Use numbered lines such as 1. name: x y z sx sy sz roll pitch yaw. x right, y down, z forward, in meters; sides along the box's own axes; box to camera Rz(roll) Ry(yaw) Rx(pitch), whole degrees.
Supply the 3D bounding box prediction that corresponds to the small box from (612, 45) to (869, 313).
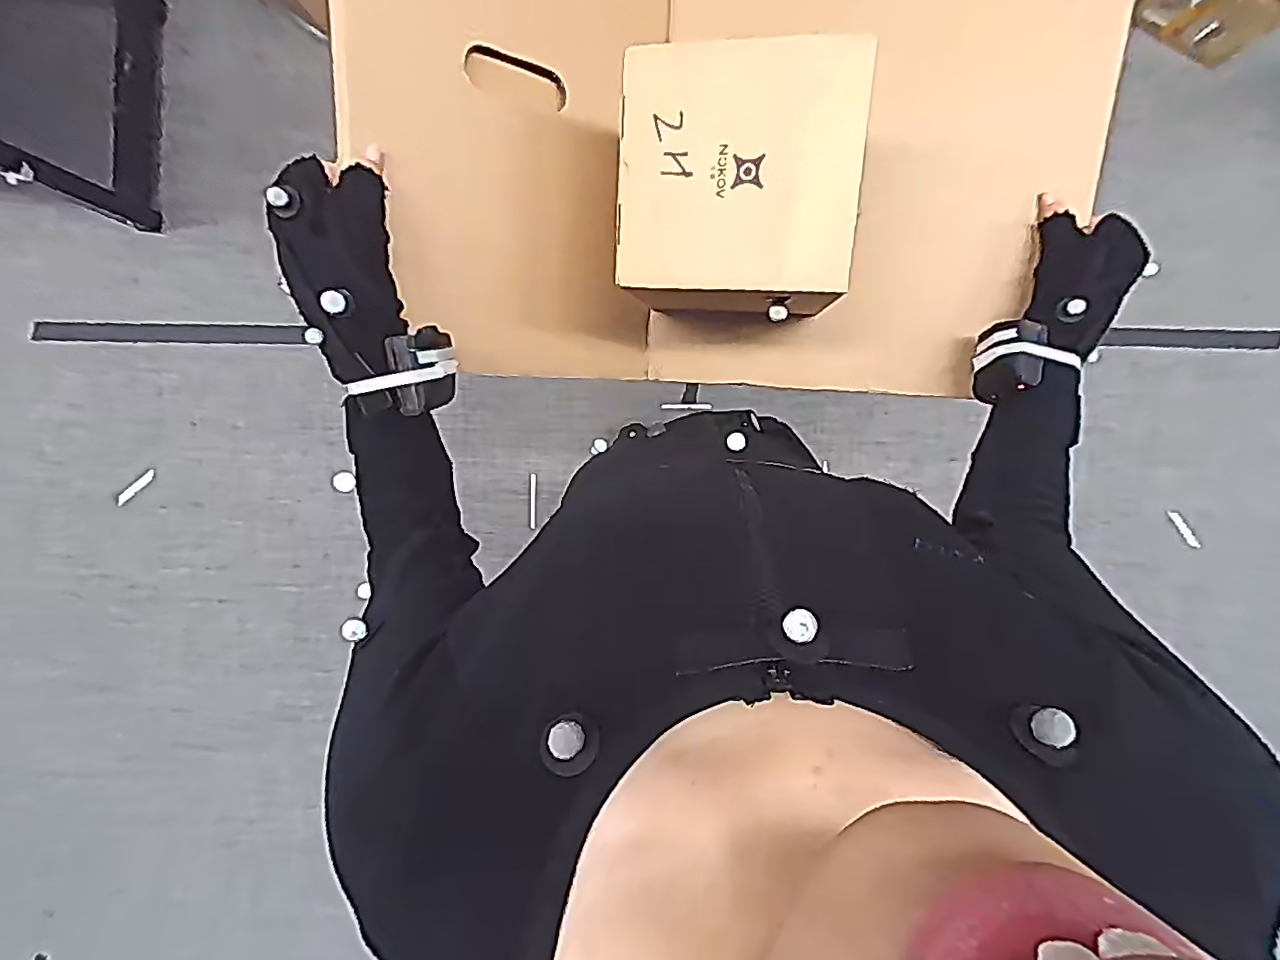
1. small box: 0.082 -0.242 0.476 0.179 0.176 0.168 6 102 10
